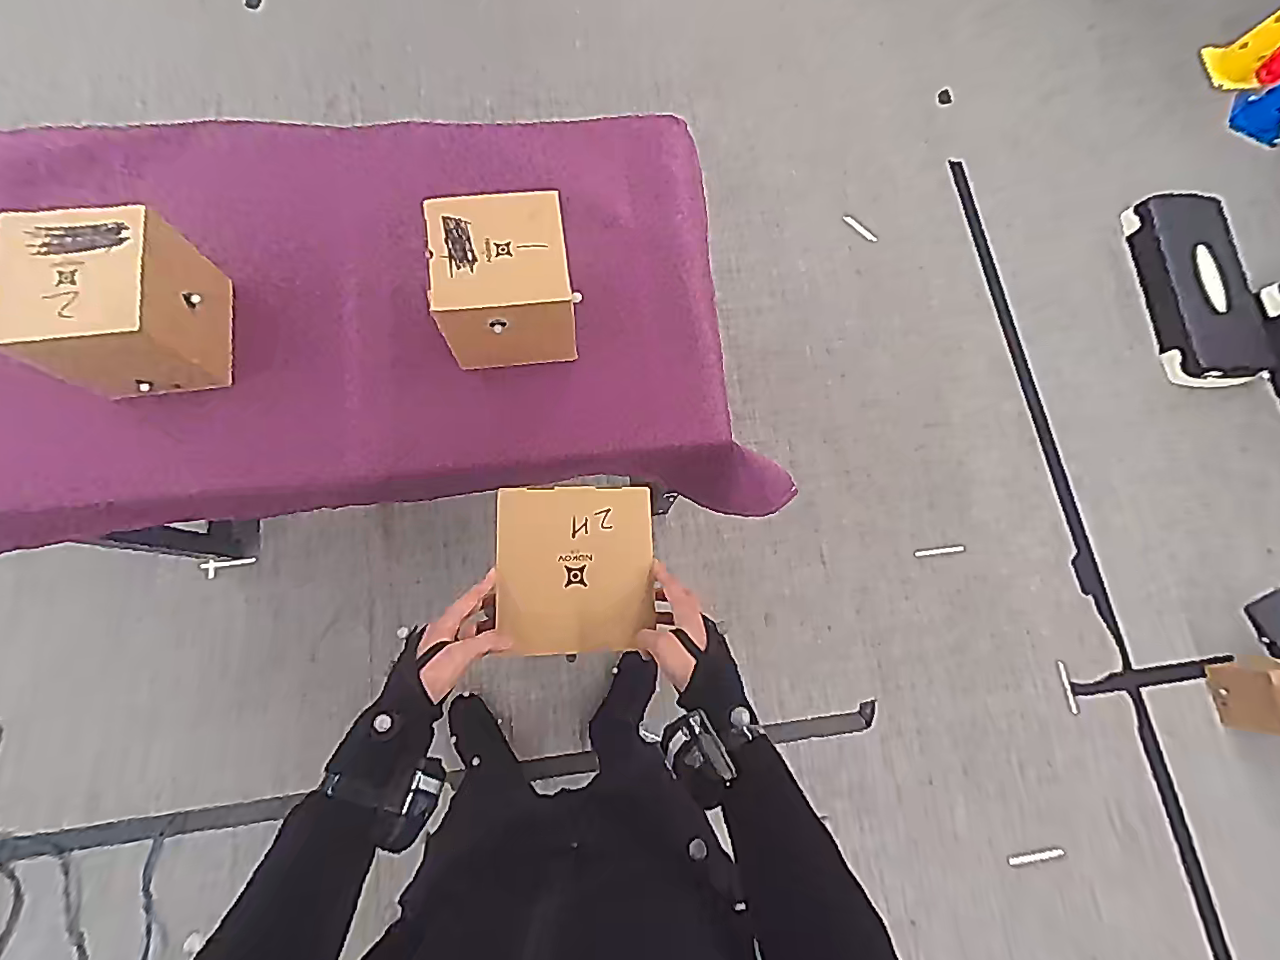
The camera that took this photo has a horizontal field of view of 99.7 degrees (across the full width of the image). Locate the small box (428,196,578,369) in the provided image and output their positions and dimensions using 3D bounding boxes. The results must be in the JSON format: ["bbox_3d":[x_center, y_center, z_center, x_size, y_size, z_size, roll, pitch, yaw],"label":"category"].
[{"bbox_3d":[-0.185,-0.268,0.766,0.179,0.176,0.168,-6,77,-6],"label":"small box"}]

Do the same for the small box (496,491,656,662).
[{"bbox_3d":[-0.075,0.114,0.643,0.168,0.176,0.179,0,77,-8],"label":"small box"}]
